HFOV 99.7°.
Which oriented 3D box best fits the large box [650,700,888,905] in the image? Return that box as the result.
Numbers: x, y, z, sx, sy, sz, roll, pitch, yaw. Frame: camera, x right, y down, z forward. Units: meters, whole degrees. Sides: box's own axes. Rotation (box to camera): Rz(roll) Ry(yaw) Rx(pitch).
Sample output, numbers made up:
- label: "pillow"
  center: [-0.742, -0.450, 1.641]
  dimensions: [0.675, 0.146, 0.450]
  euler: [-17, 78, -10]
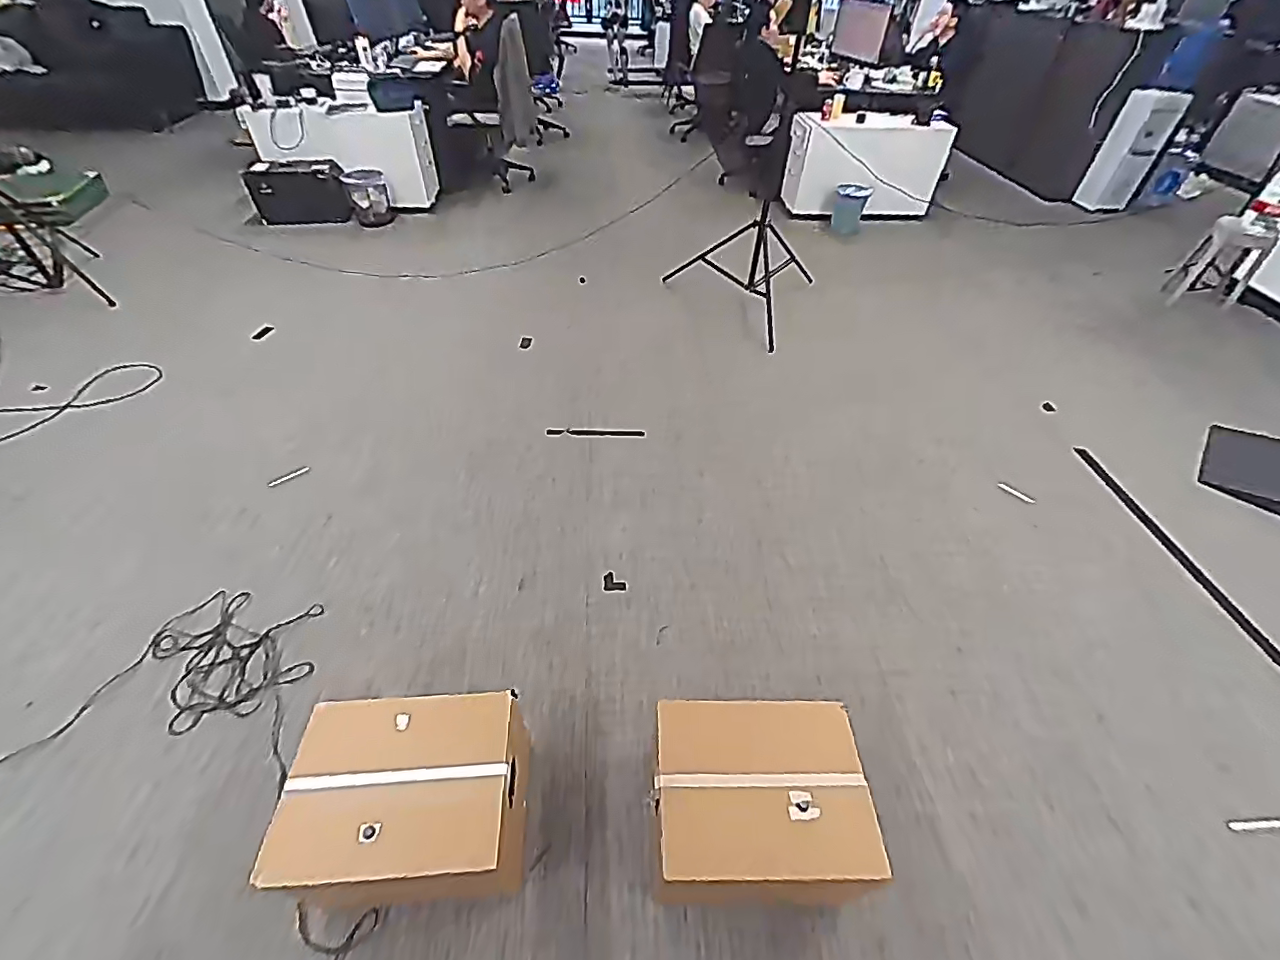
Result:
- label: "large box"
  center: [0.234, 0.688, 1.157]
  dimensions: [0.408, 0.320, 0.320]
  euler: [2, 45, -2]
